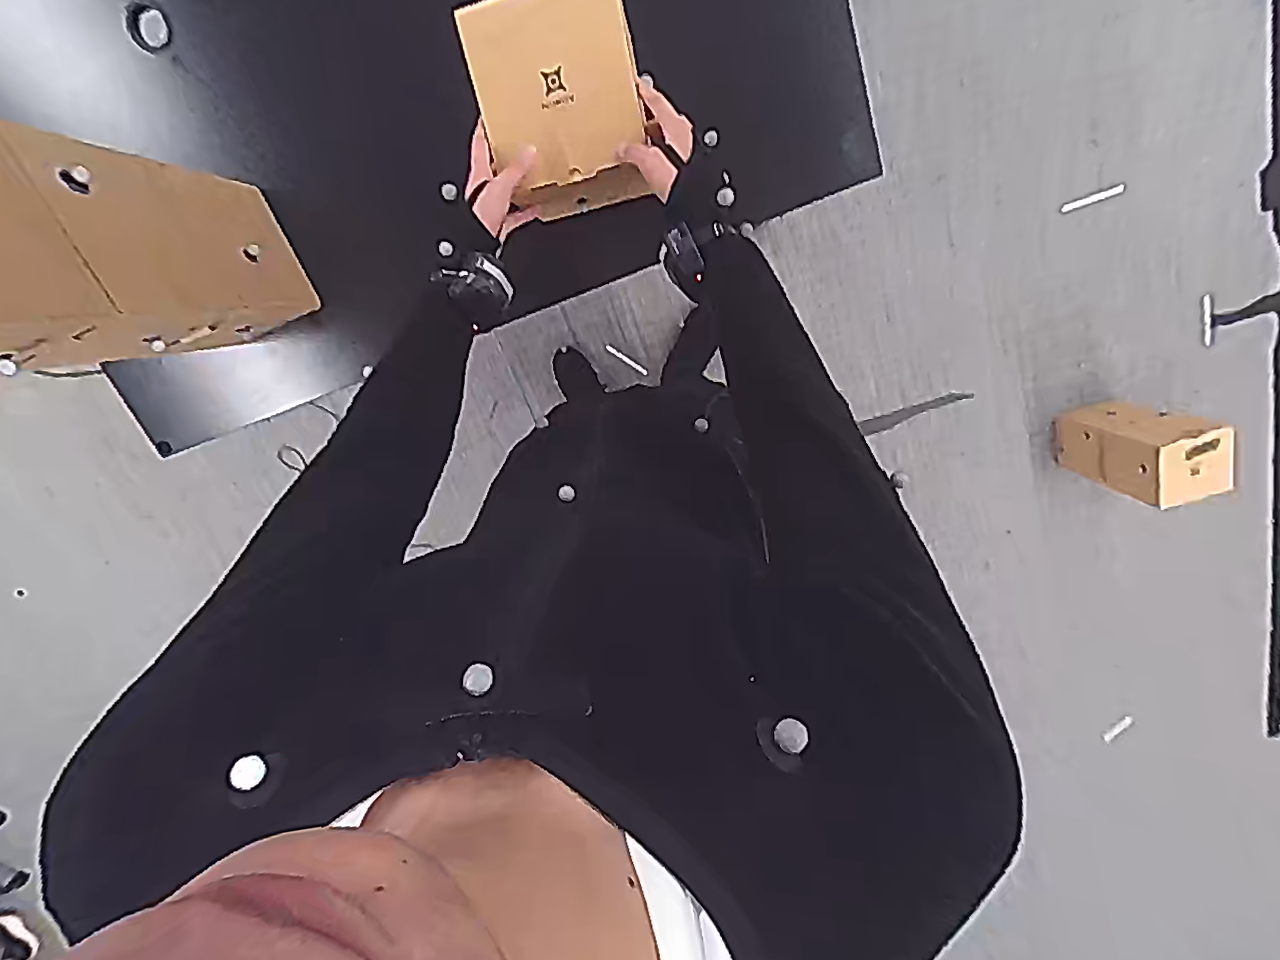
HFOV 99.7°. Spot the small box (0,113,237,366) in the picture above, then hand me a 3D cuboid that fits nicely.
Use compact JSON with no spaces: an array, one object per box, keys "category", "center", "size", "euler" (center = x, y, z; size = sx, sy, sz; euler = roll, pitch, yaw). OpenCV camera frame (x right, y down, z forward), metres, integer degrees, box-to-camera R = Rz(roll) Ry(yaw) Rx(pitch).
[{"category":"small box","center":[-0.585,-0.232,0.560],"size":[0.168,0.176,0.179],"euler":[-19,108,8]}]

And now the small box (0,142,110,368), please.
[{"category":"small box","center":[-0.587,-0.178,0.407],"size":[0.168,0.176,0.179],"euler":[-20,108,9]}]

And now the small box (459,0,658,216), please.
[{"category":"small box","center":[-0.077,-0.424,0.618],"size":[0.168,0.176,0.179],"euler":[-11,108,8]}]

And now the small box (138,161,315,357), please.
[{"category":"small box","center":[-0.581,-0.284,0.716],"size":[0.168,0.176,0.179],"euler":[-20,108,8]}]

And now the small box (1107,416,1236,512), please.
[{"category":"small box","center":[1.316,-0.050,1.350],"size":[0.168,0.176,0.179],"euler":[-18,109,7]}]
